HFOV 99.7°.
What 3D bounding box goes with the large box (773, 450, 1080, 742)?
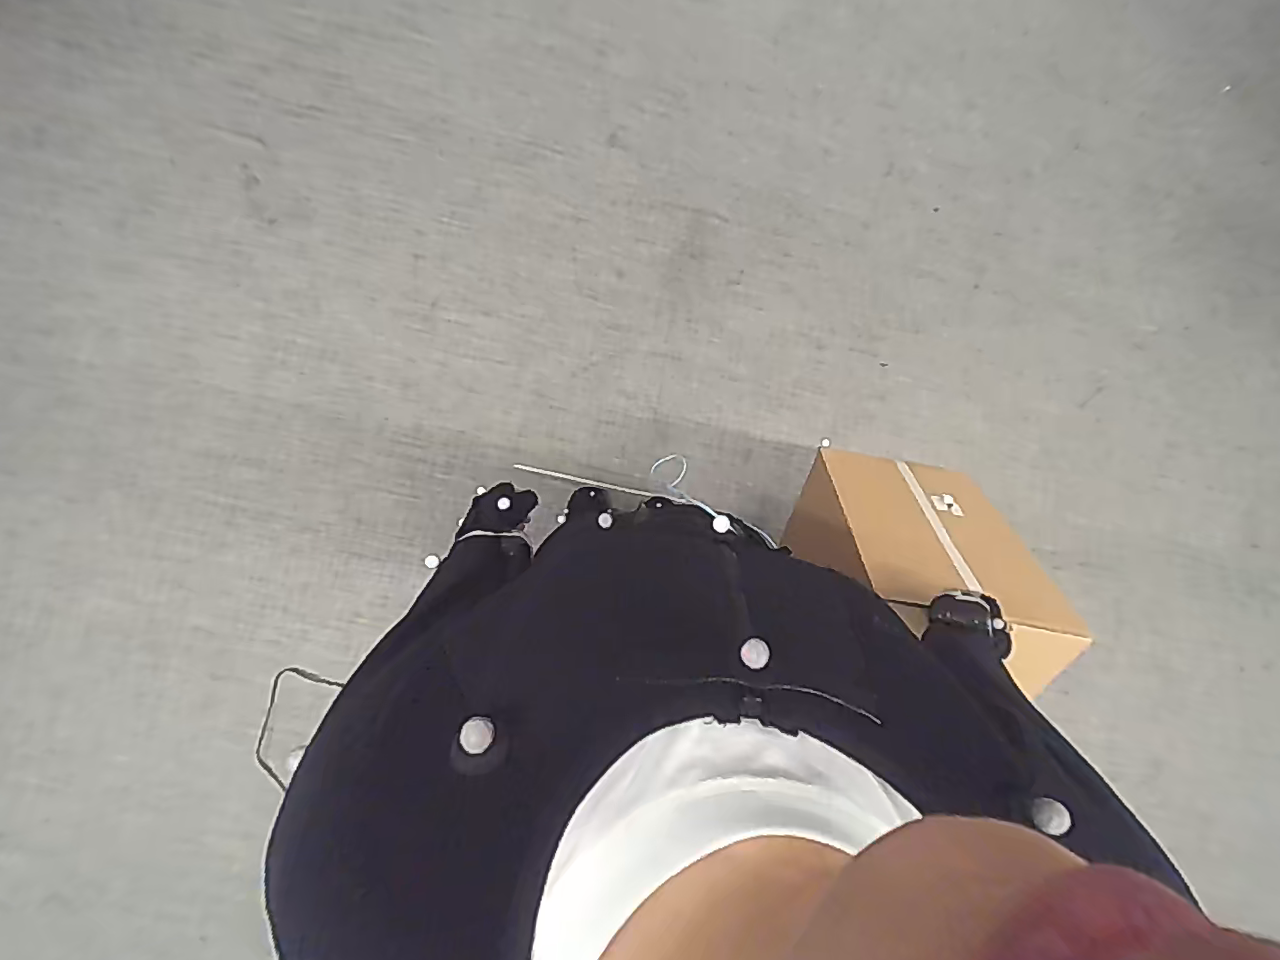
[{"bbox_3d":[0.460,0.198,0.996,0.320,0.408,0.320,11,124,-2],"label":"large box"}]
